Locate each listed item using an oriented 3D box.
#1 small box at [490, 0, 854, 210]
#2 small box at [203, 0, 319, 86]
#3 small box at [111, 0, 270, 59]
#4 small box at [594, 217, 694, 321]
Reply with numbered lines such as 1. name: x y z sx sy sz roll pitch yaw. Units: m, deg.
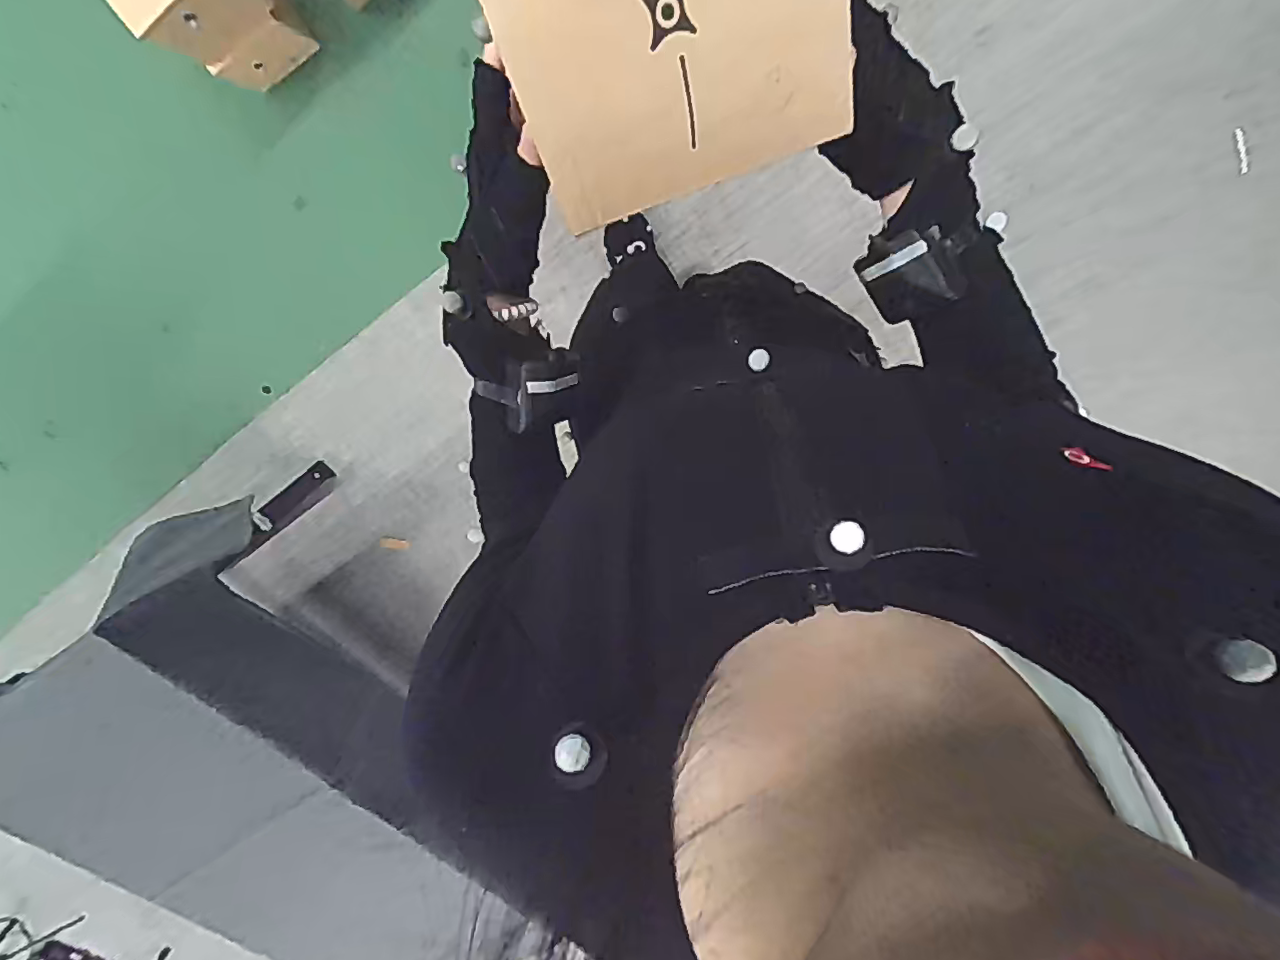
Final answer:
1. small box: 0.004 -0.287 0.302 0.168 0.176 0.179 -16 131 9
2. small box: -0.769 -0.899 1.039 0.168 0.176 0.179 -28 112 11
3. small box: -0.763 -0.841 0.884 0.179 0.176 0.168 -28 112 11
4. small box: 0.004 -0.499 1.272 0.179 0.176 0.168 26 124 3
